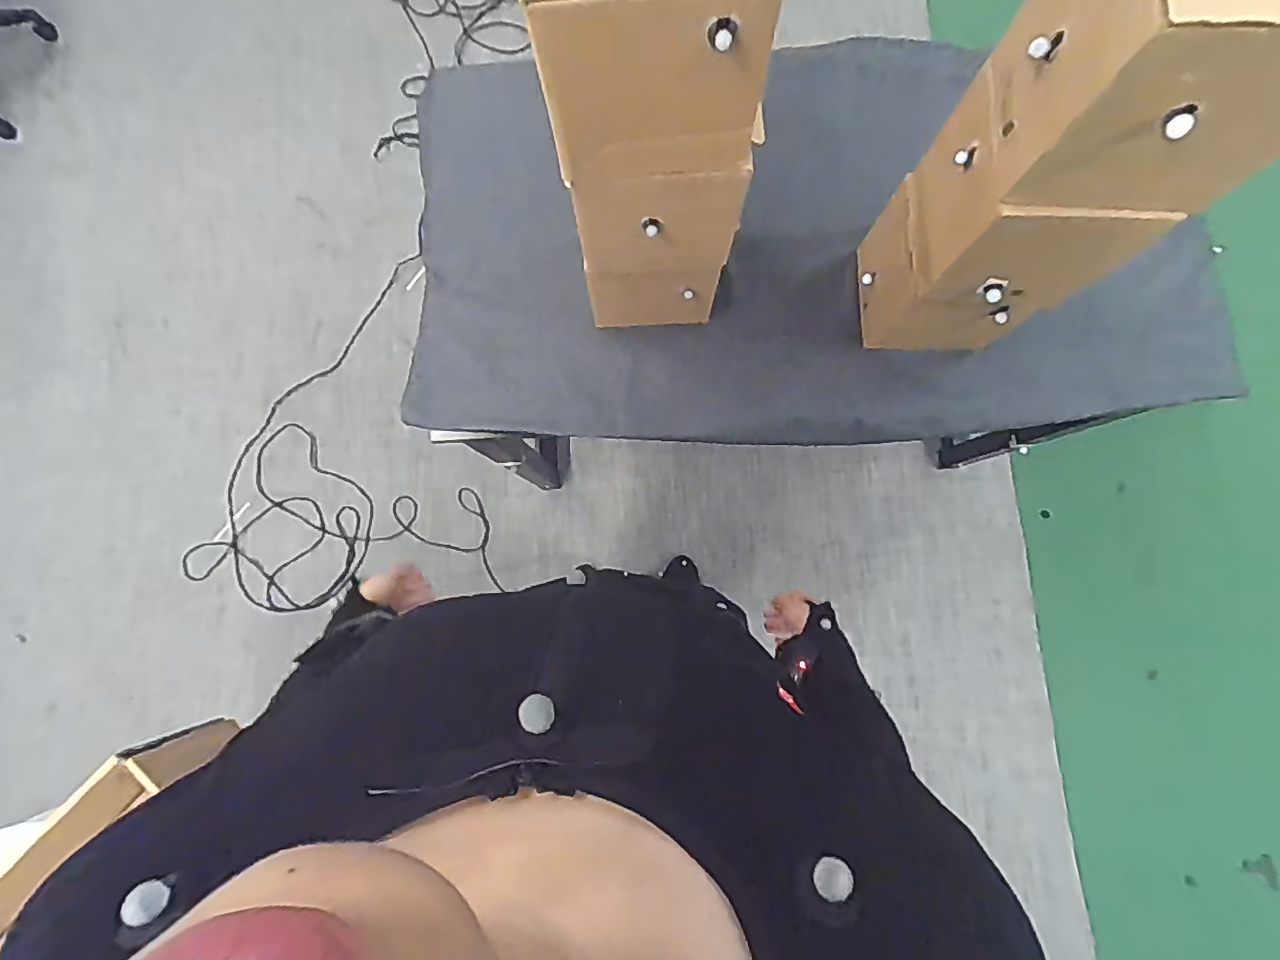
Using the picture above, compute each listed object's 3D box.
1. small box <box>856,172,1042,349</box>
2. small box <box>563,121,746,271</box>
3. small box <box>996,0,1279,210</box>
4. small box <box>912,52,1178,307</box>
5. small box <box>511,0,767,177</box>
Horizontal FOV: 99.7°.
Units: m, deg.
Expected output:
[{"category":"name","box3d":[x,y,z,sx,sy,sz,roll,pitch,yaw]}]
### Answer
[{"category":"small box","box3d":[0.416,-0.290,0.743,0.179,0.176,0.168,1,80,2]},{"category":"small box","box3d":[0.011,-0.351,0.597,0.179,0.176,0.168,-3,81,1]},{"category":"small box","box3d":[0.408,-0.337,0.420,0.179,0.176,0.168,4,81,4]},{"category":"small box","box3d":[0.411,-0.309,0.582,0.168,0.176,0.179,2,82,3]},{"category":"small box","box3d":[-0.002,-0.375,0.436,0.179,0.176,0.168,-6,81,-1]}]
